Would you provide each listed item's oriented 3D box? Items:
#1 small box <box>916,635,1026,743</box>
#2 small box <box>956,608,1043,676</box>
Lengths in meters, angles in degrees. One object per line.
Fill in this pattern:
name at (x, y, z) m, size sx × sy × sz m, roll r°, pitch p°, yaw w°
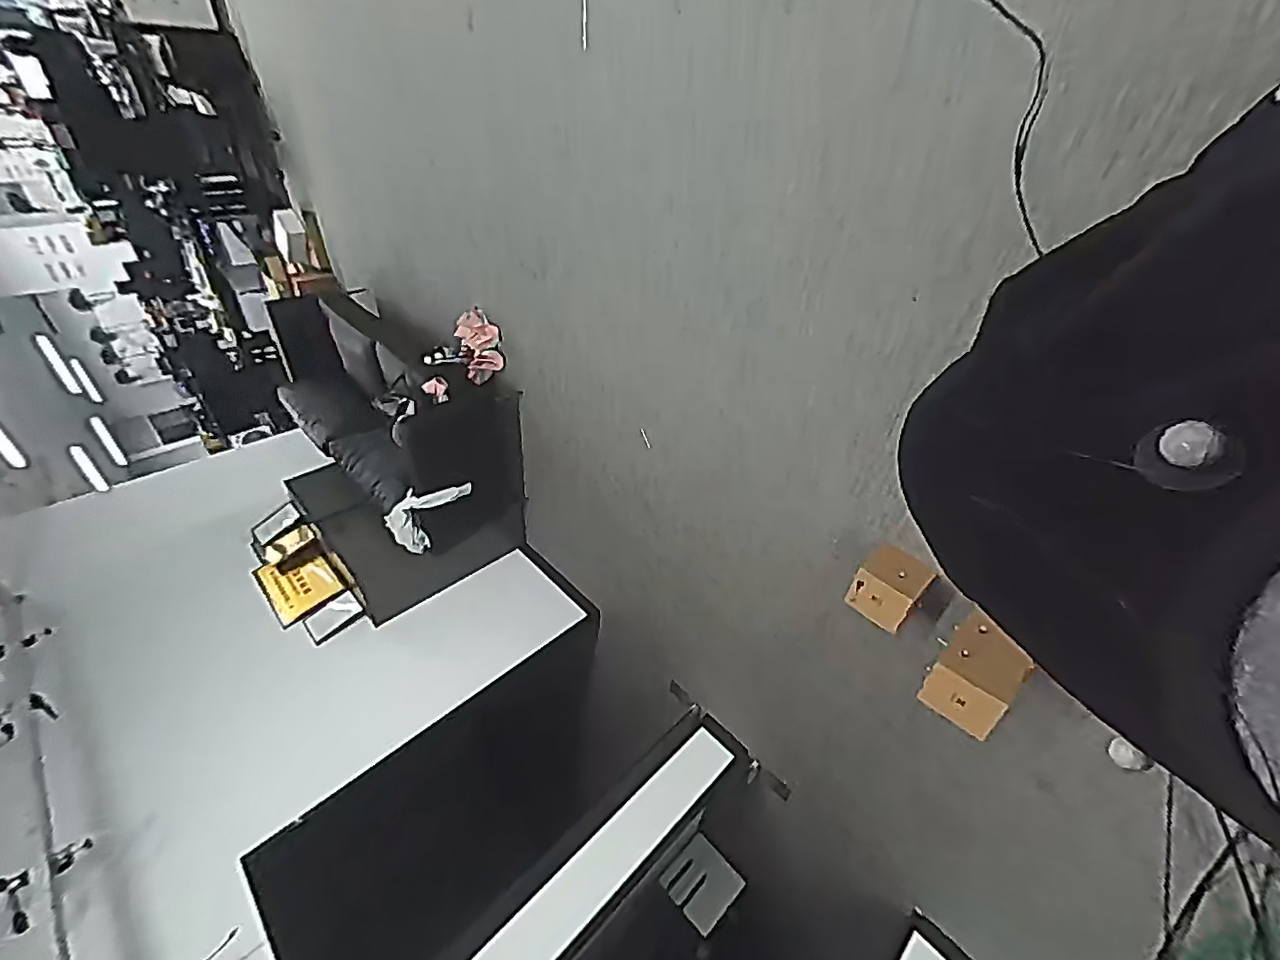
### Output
small box at (0.873, 0.540, 1.429) m, size 0.179 × 0.176 × 0.168 m, roll 32°, pitch 134°, yaw 34°
small box at (0.991, 0.489, 1.529) m, size 0.179 × 0.176 × 0.168 m, roll 32°, pitch 134°, yaw 34°
